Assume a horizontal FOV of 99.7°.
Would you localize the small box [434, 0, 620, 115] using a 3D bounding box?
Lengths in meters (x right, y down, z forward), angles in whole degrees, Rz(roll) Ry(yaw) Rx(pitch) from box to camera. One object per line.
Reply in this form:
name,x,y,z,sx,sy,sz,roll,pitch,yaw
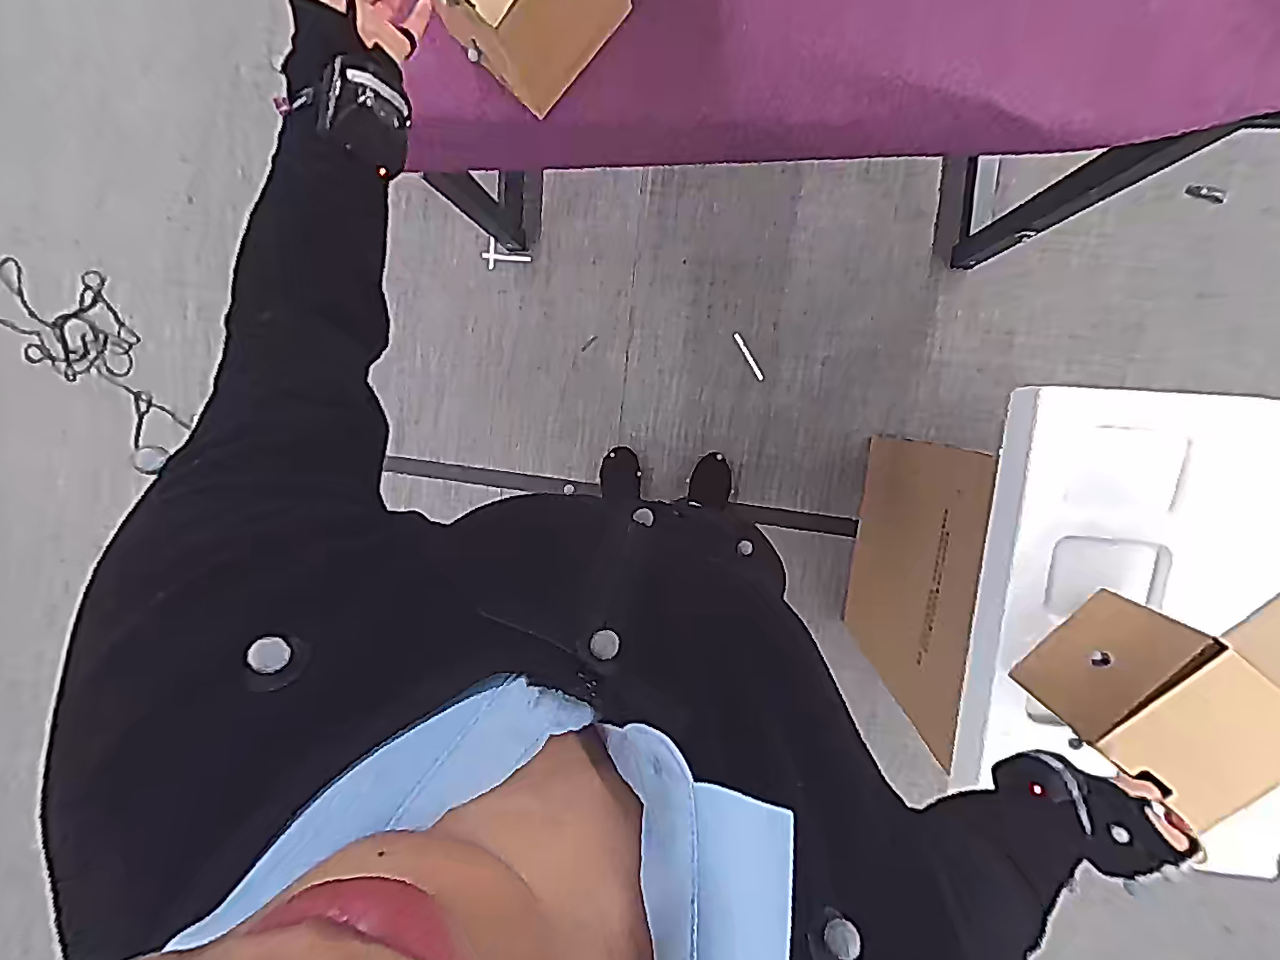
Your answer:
small box,-0.136,-0.576,0.612,0.168,0.176,0.179,44,98,1
